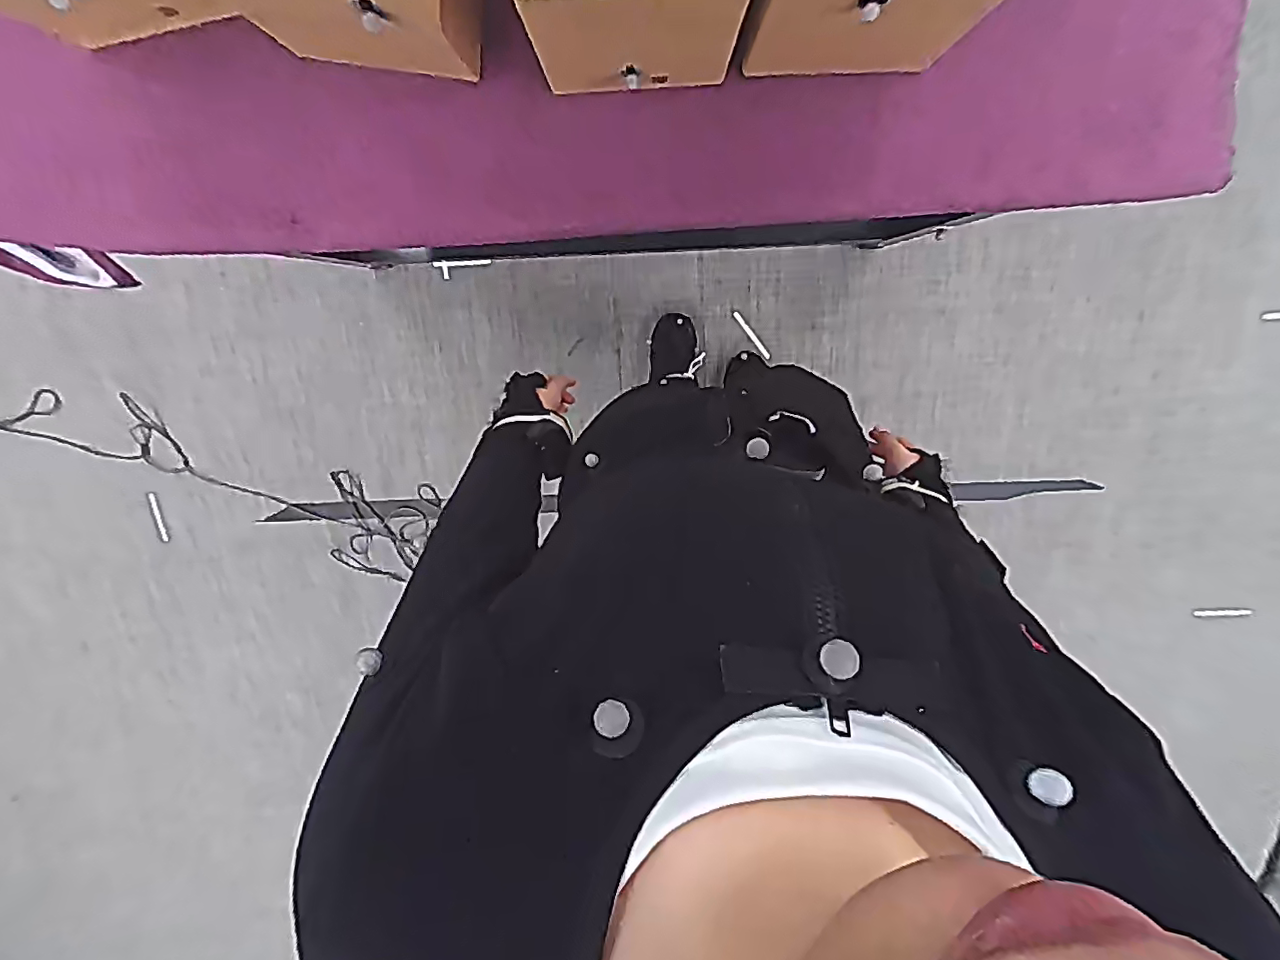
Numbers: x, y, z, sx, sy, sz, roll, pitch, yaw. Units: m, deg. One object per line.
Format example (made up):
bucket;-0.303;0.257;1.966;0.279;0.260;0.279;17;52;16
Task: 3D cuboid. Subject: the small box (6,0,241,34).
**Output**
small box;-0.459;-0.482;0.411;0.168;0.176;0.179;-10;108;4
